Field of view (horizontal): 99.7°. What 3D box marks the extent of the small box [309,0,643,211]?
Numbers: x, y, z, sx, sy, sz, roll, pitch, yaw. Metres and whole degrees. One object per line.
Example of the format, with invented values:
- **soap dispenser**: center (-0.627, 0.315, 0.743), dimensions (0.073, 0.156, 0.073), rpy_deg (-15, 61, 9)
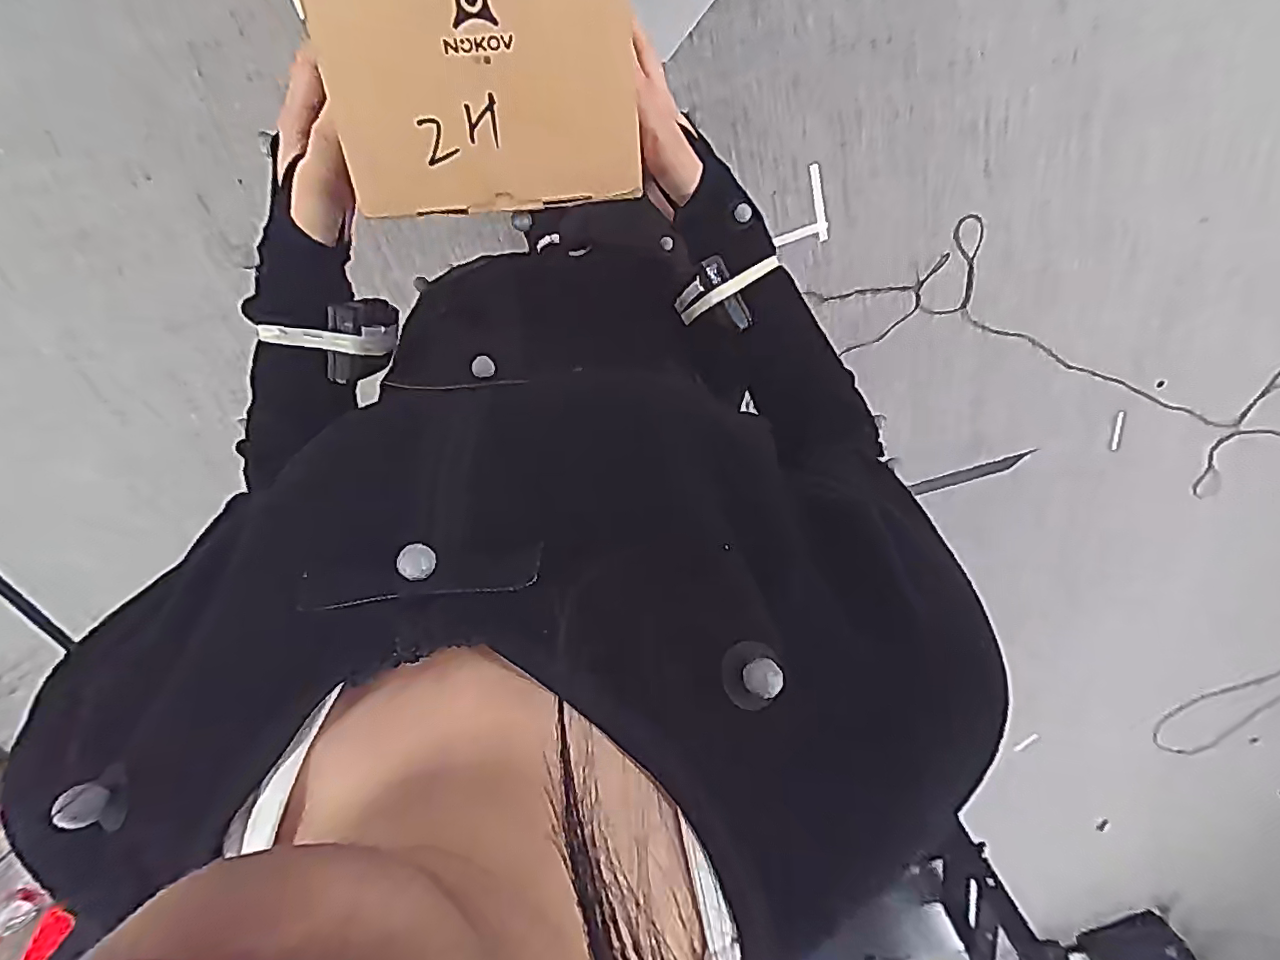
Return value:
- **small box**: center (-0.093, -0.277, 0.349), dimensions (0.168, 0.176, 0.179), rpy_deg (-6, 117, -4)
